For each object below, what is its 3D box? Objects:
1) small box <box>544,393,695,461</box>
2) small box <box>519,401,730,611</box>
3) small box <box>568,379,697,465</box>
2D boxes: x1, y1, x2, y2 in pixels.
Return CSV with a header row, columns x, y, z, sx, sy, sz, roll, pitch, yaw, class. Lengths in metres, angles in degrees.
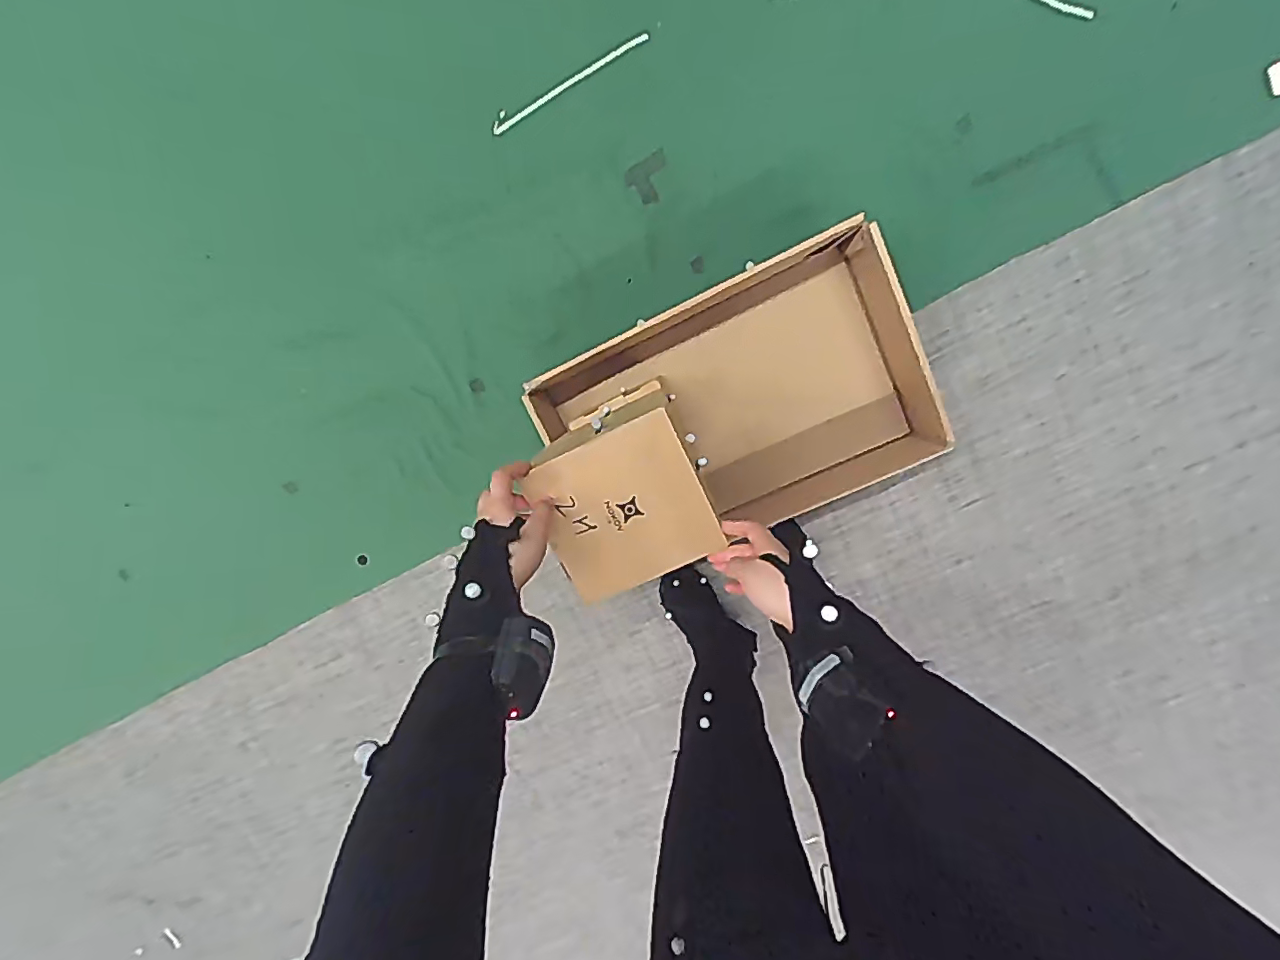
x,y,z,sx,sy,sz,roll,pitch,yaw,class
-0.015,-0.018,0.805,0.179,0.176,0.168,-25,101,8,small box
-0.013,0.018,0.641,0.179,0.176,0.168,-25,101,9,small box
-0.003,-0.067,0.962,0.168,0.176,0.179,-25,100,9,small box
